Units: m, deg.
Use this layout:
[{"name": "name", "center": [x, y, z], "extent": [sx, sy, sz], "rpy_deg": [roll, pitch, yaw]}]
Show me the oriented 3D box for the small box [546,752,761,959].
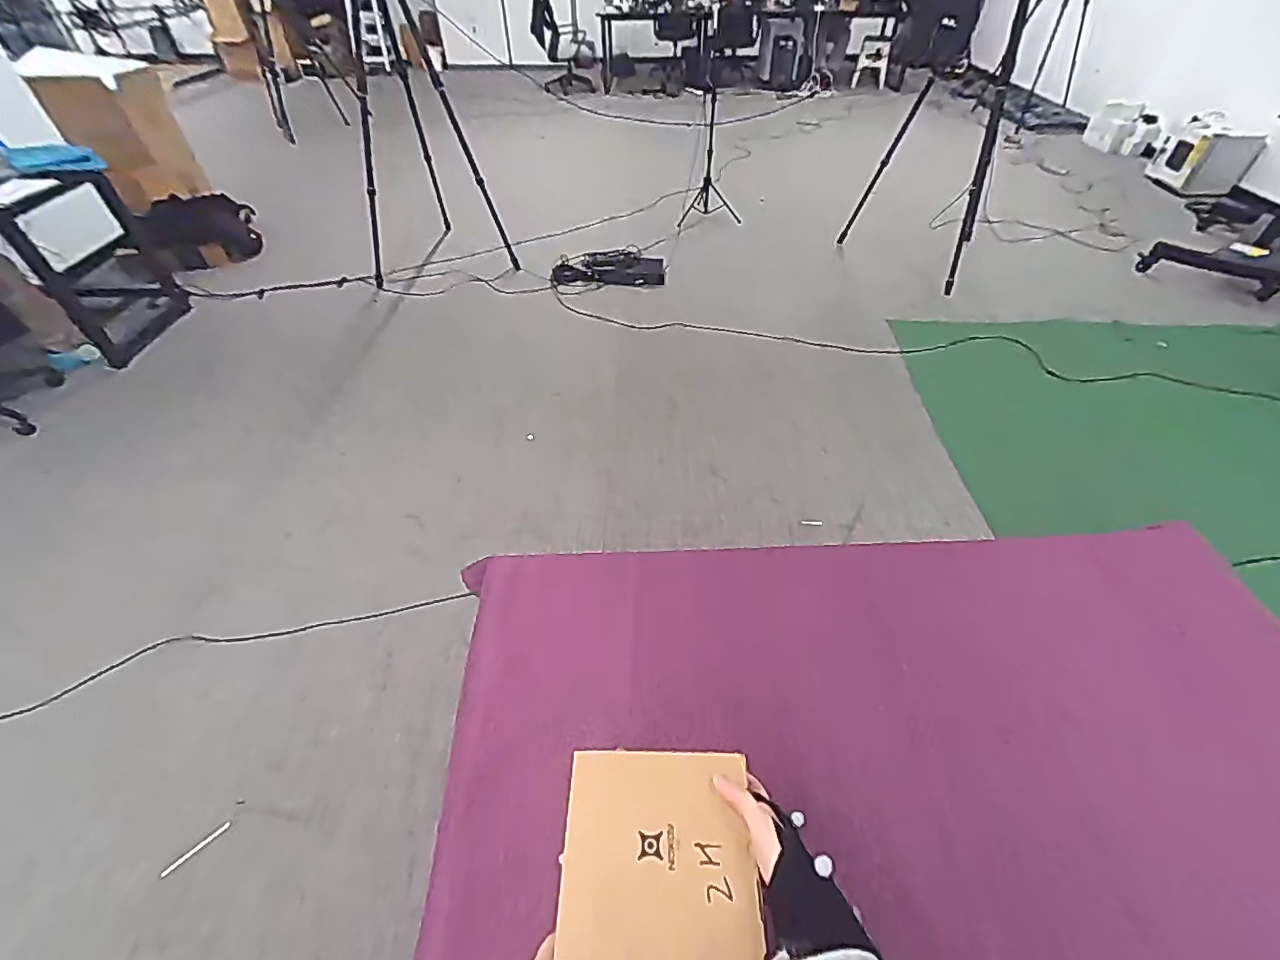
[{"name": "small box", "center": [0.016, 0.391, 0.543], "extent": [0.179, 0.176, 0.168], "rpy_deg": [1, 45, 2]}]
